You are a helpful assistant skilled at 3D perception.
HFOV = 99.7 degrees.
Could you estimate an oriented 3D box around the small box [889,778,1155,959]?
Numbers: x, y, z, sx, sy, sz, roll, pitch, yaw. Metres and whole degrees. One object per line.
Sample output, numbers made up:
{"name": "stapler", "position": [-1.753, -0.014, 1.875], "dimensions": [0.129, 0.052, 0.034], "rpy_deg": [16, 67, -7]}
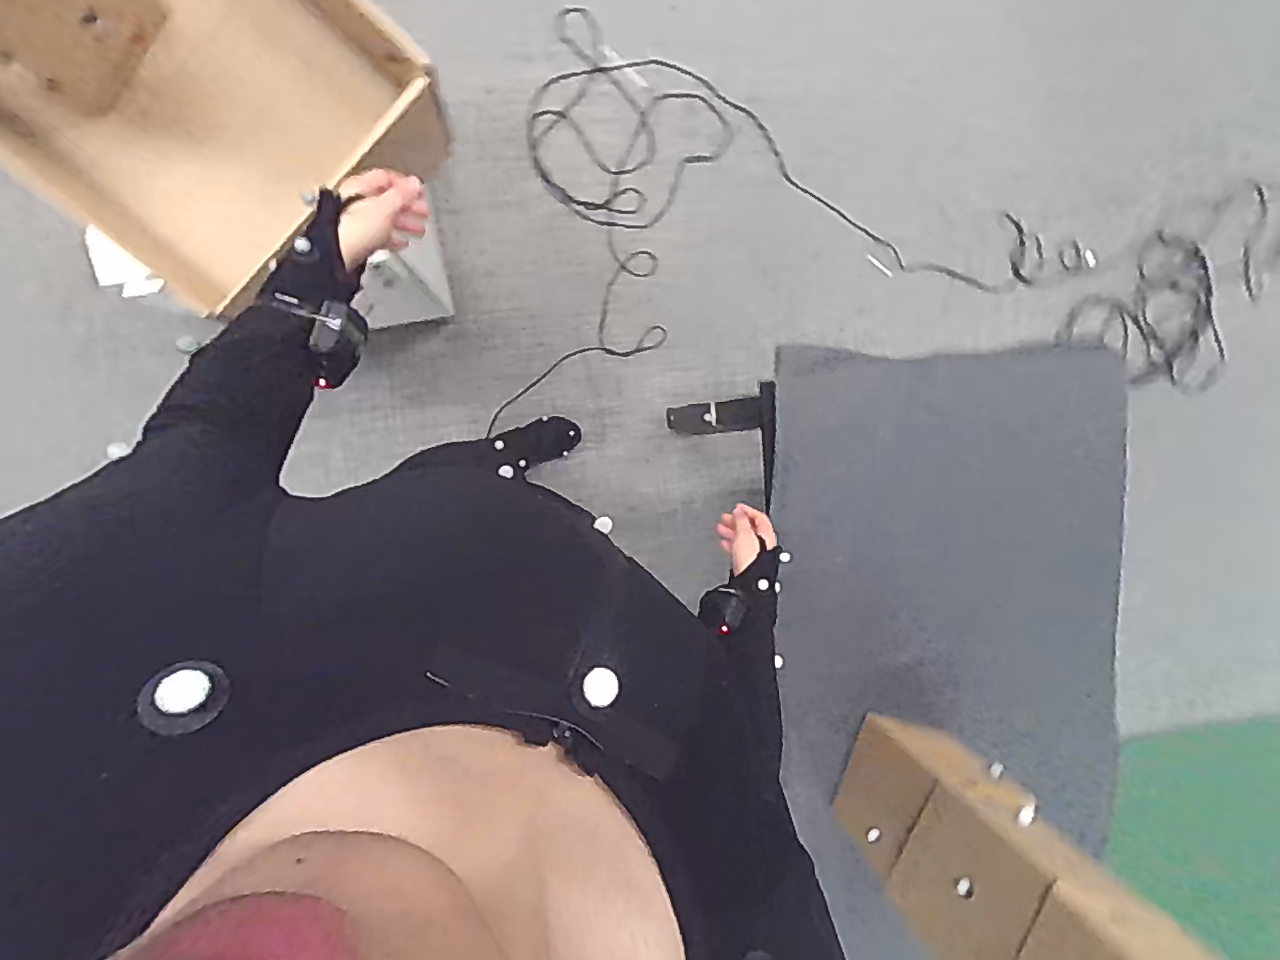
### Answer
{"name": "small box", "position": [0.437, 0.508, 0.650], "dimensions": [0.168, 0.176, 0.179], "rpy_deg": [26, 90, -12]}

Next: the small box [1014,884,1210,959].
{"name": "small box", "position": [0.467, 0.521, 0.491], "dimensions": [0.168, 0.176, 0.179], "rpy_deg": [24, 92, -13]}
